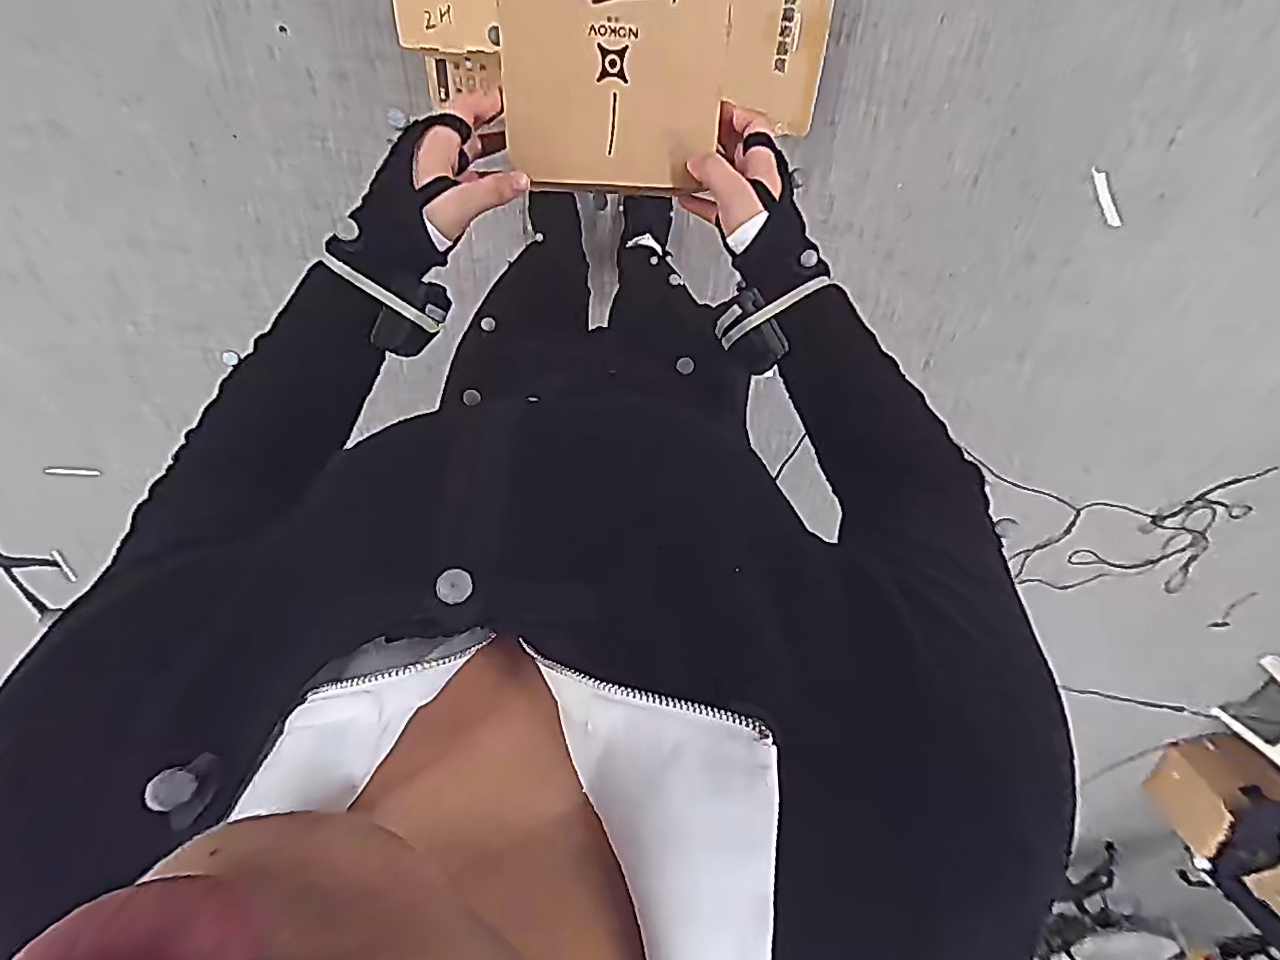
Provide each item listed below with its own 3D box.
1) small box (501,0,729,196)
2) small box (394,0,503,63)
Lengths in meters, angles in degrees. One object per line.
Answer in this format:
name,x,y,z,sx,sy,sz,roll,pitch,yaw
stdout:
small box,-0.027,-0.351,0.466,0.168,0.176,0.179,0,117,-6
small box,-0.295,-0.801,0.879,0.168,0.176,0.179,2,124,-3
